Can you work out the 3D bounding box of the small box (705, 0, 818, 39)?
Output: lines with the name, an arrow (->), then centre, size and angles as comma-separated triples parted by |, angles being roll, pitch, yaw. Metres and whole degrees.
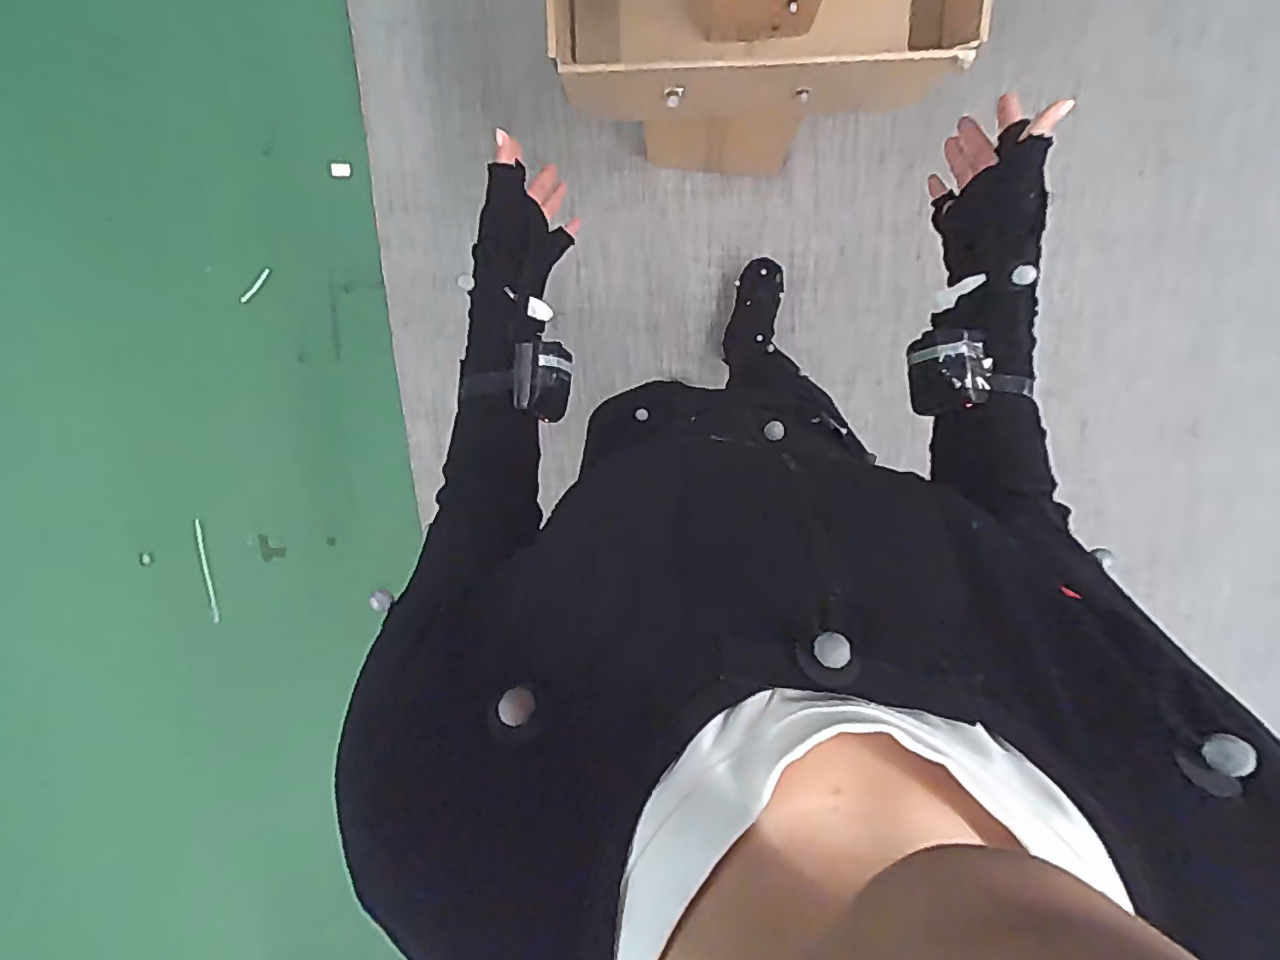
small box -> 0.184, -0.787, 0.792 | 0.168, 0.176, 0.179 | -3, 100, 2
